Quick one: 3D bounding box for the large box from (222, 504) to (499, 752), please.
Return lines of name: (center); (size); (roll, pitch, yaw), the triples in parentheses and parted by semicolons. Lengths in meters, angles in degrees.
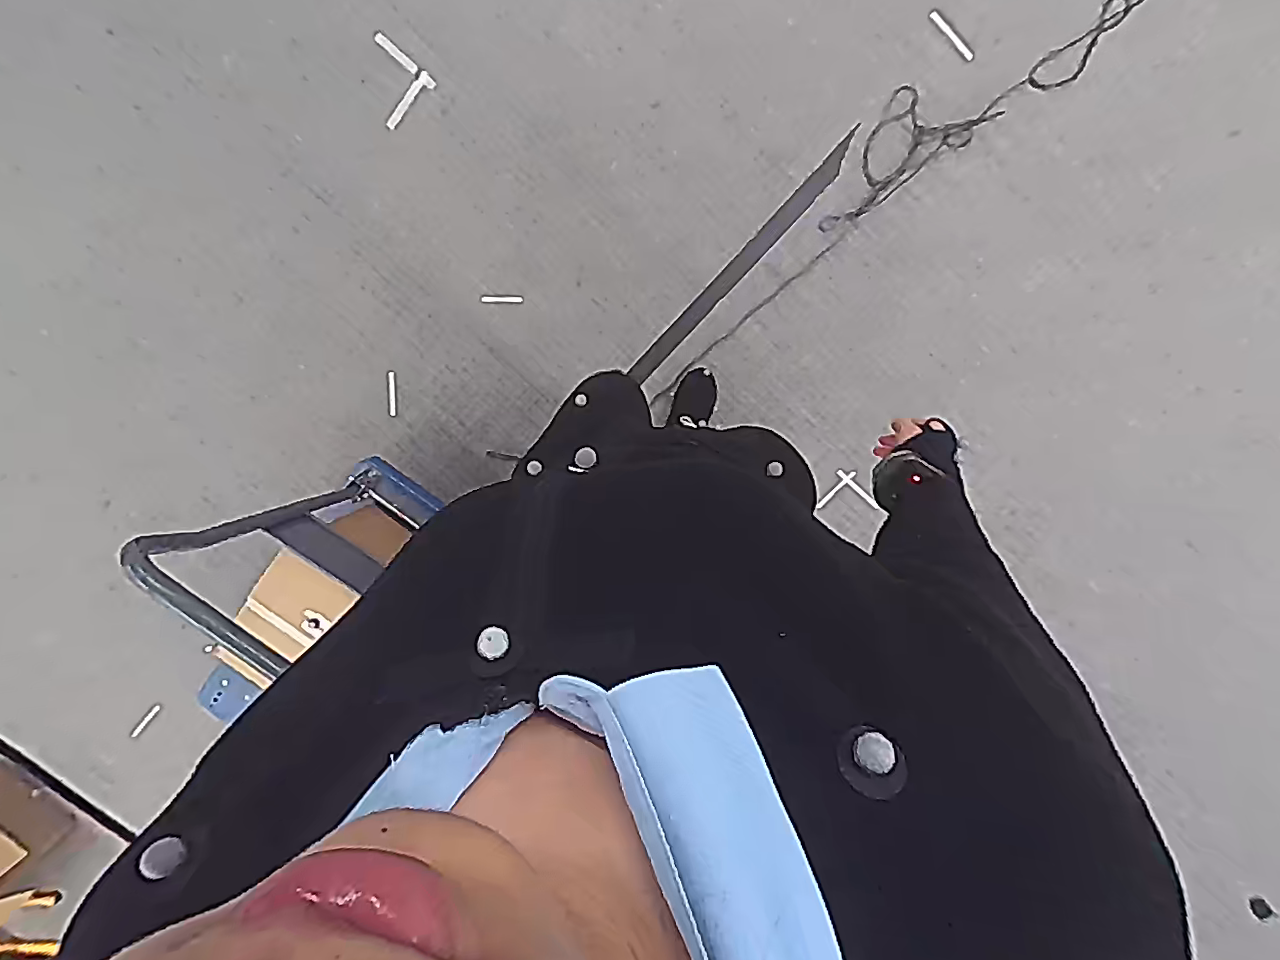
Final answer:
large box: (-0.609, 0.319, 1.250); (0.408, 0.320, 0.320); (39, 99, -5)
